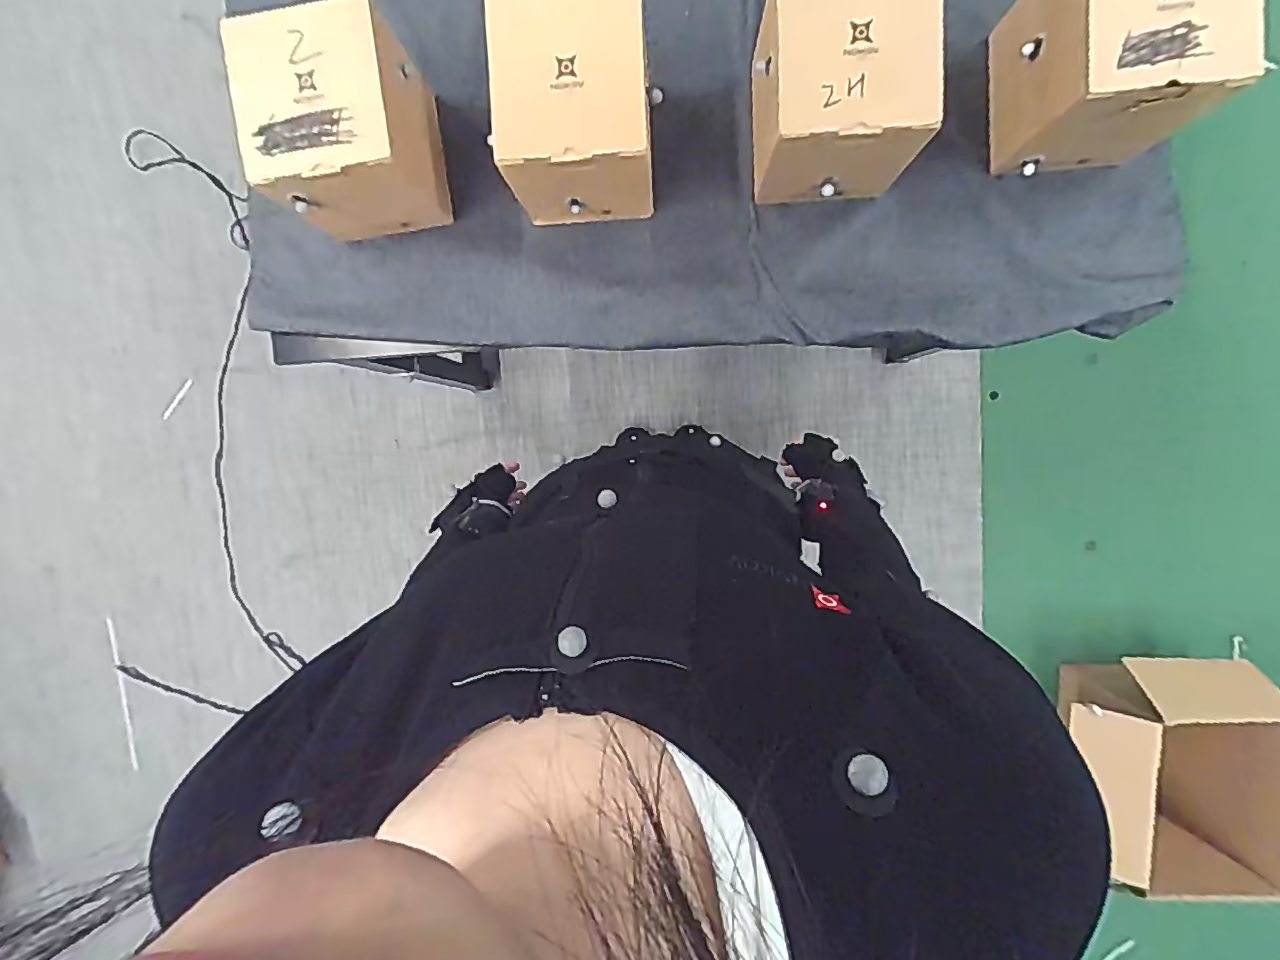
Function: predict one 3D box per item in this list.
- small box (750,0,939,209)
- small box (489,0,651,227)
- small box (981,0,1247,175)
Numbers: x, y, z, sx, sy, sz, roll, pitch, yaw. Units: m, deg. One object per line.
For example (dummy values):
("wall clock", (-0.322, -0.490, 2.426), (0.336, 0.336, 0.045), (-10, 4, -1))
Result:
("small box", (0.224, -0.444, 0.634), (0.168, 0.176, 0.179), (-2, 95, 3))
("small box", (-0.073, -0.427, 0.648), (0.168, 0.176, 0.179), (-3, 95, 2))
("small box", (0.522, -0.474, 0.620), (0.168, 0.176, 0.179), (-3, 94, 2))
